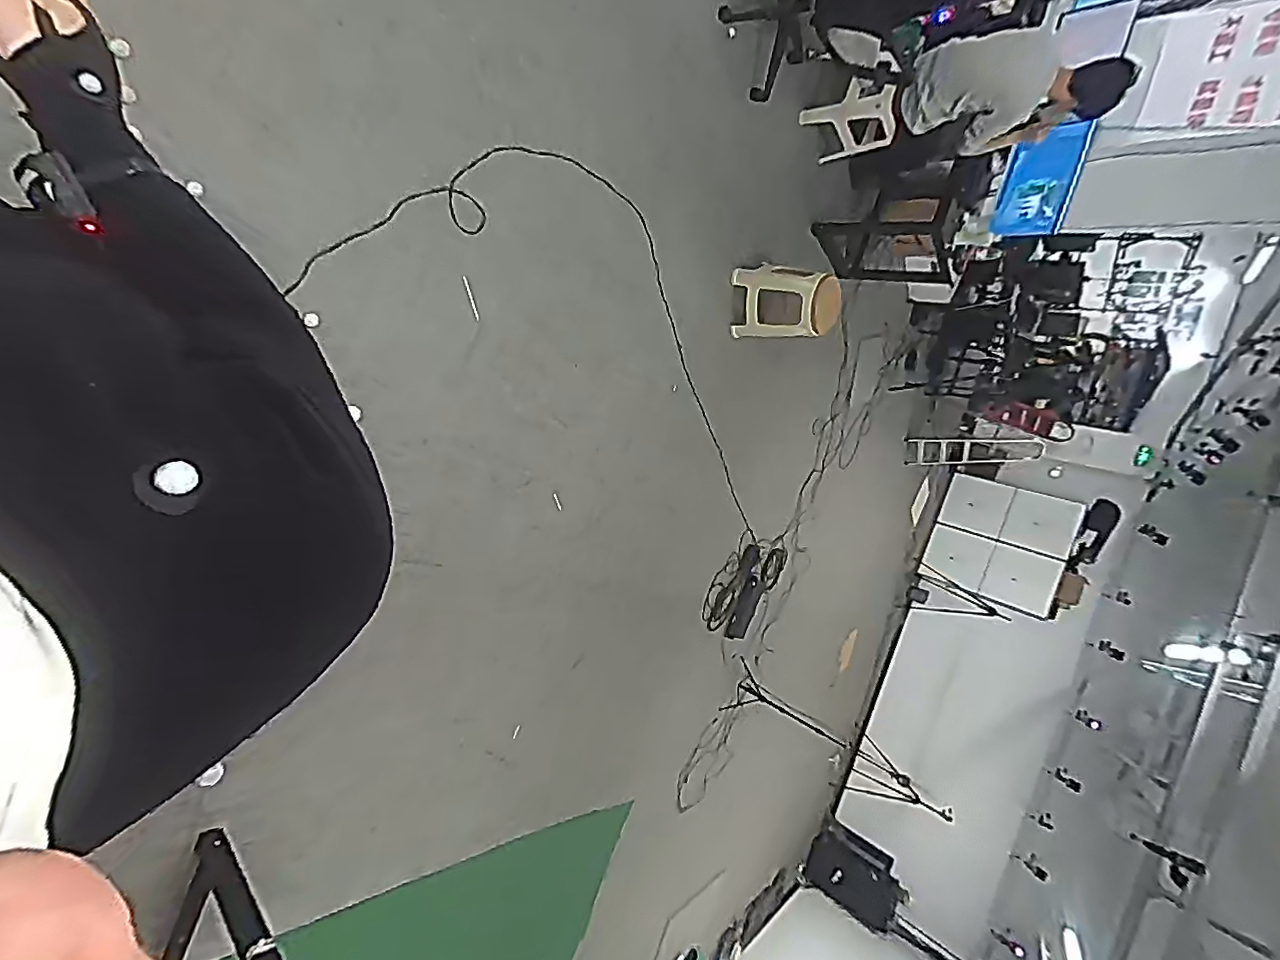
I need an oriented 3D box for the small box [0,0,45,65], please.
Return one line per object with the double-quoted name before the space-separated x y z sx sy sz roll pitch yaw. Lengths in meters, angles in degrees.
"small box" -0.578 -0.470 0.411 0.179 0.176 0.168 17 88 -50
